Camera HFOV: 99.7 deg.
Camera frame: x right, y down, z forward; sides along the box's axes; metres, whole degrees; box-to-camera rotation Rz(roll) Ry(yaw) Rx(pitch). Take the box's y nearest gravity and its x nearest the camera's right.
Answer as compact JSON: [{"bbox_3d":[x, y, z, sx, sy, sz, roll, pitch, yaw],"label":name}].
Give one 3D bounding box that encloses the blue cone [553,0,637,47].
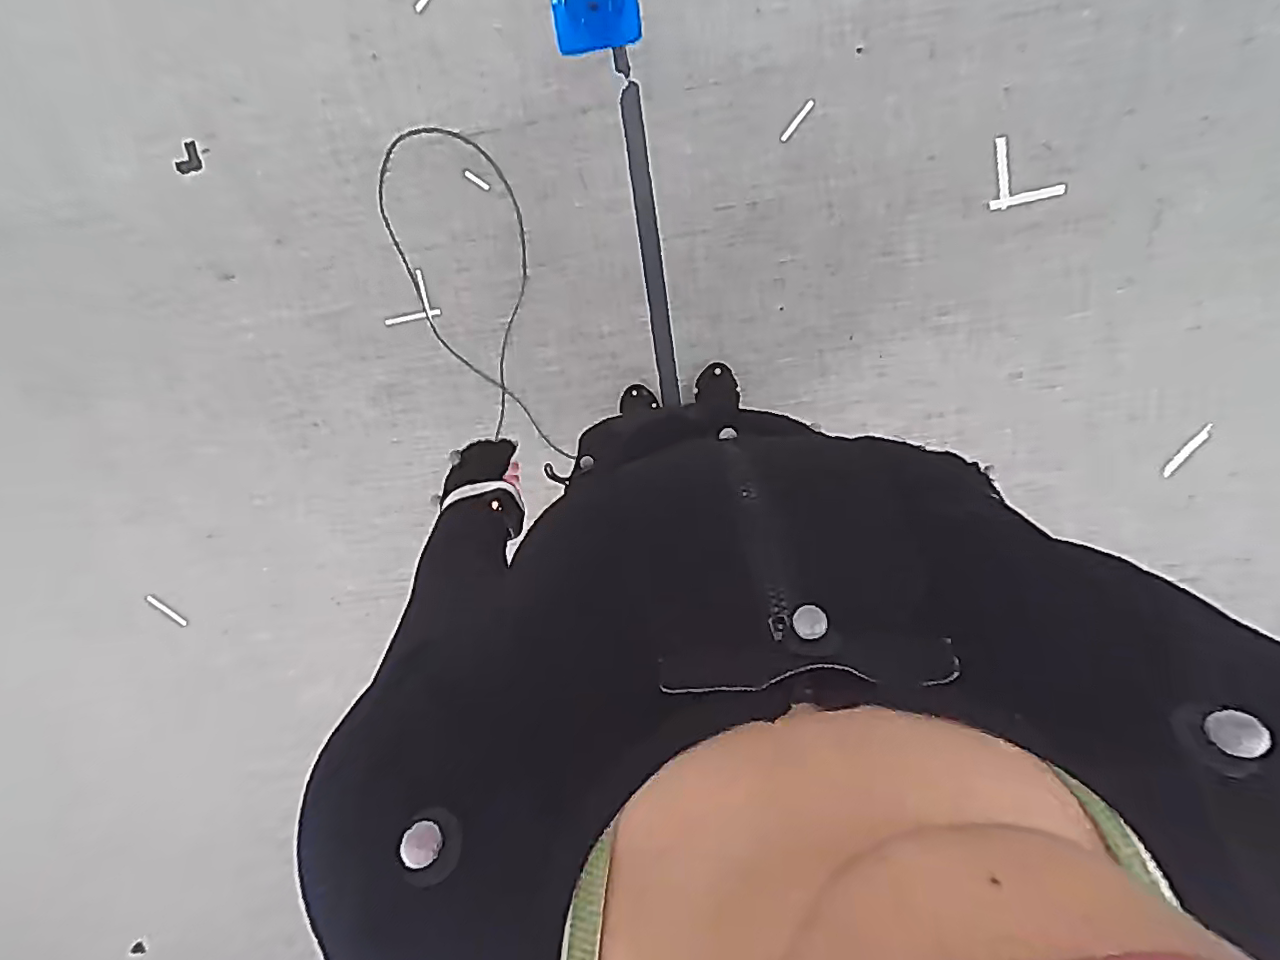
[{"bbox_3d":[-0.117,-1.063,1.067,0.193,0.380,0.192,-9,103,5],"label":"blue cone"}]
